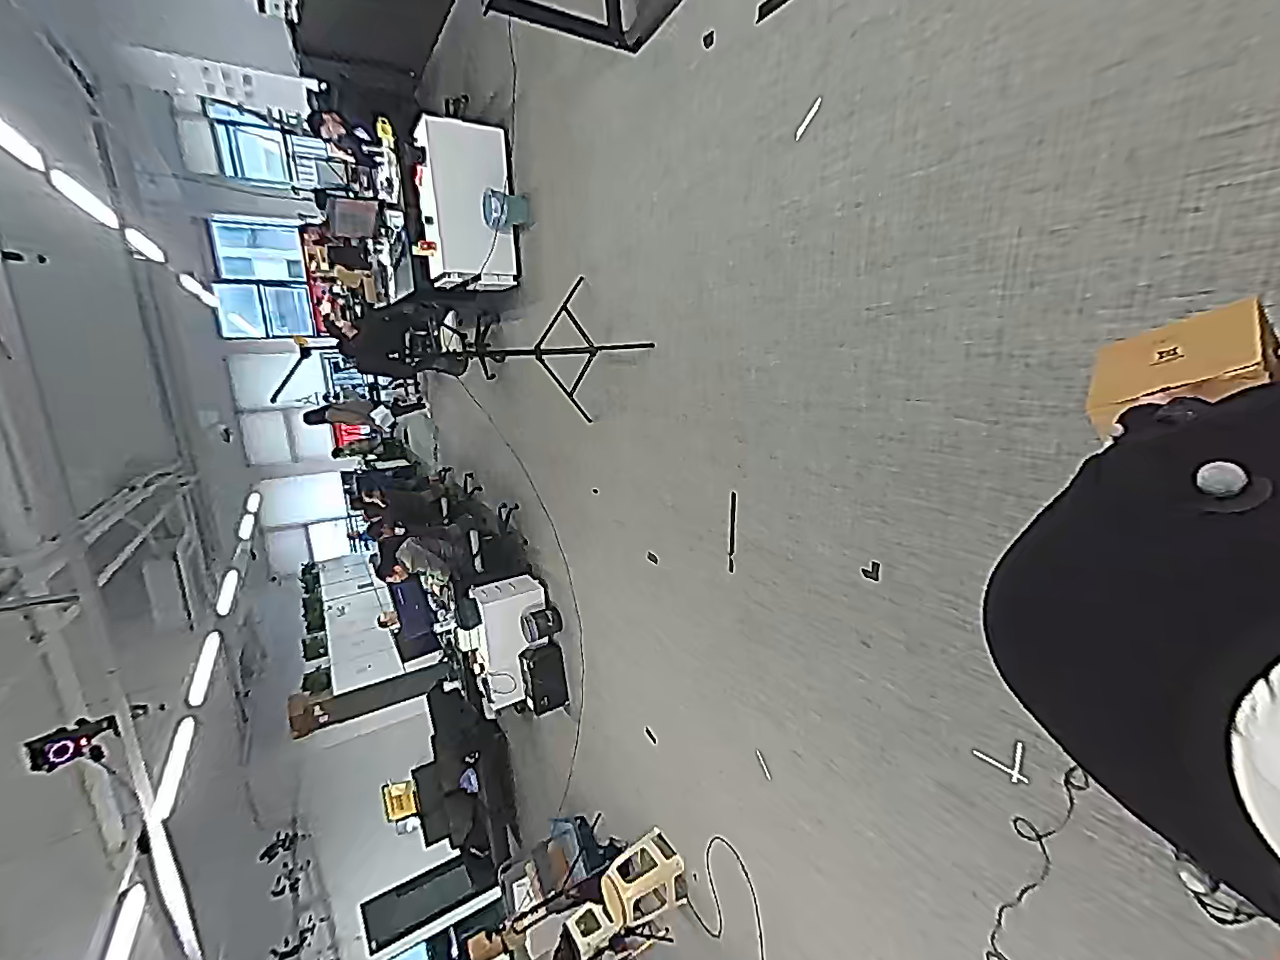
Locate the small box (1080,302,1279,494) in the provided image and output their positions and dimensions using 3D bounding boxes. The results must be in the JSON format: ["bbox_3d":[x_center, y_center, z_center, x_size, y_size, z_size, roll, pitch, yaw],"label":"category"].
[{"bbox_3d":[0.737,-0.096,0.726,0.176,0.179,0.168,51,147,-12],"label":"small box"}]
